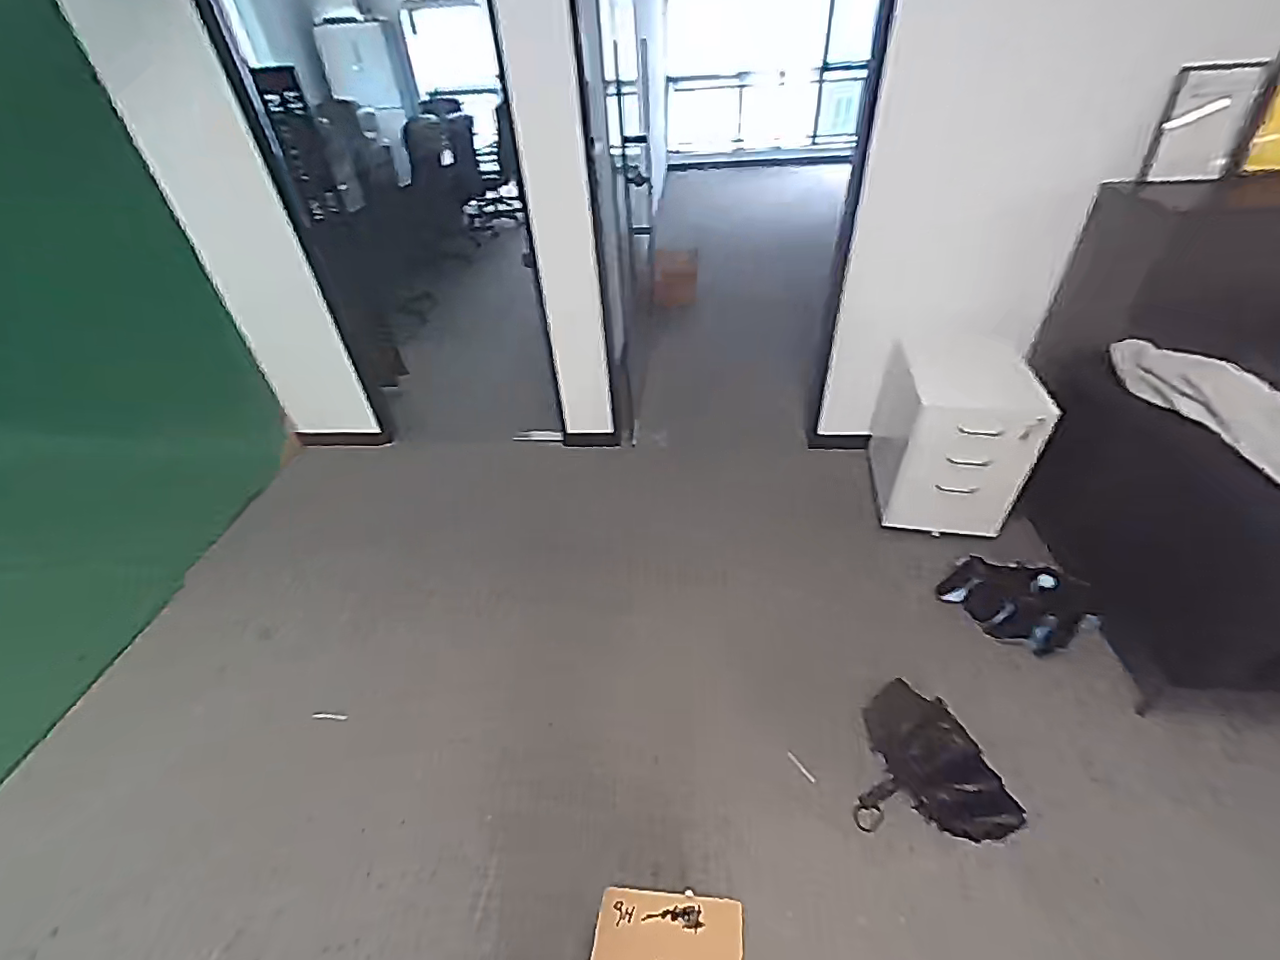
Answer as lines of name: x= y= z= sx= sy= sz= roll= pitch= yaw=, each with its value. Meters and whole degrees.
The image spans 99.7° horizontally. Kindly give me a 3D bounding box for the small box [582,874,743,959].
small box: x=0.028 y=0.577 z=0.591 sx=0.168 sy=0.176 sz=0.179 roll=-2 pitch=30 yaw=11
